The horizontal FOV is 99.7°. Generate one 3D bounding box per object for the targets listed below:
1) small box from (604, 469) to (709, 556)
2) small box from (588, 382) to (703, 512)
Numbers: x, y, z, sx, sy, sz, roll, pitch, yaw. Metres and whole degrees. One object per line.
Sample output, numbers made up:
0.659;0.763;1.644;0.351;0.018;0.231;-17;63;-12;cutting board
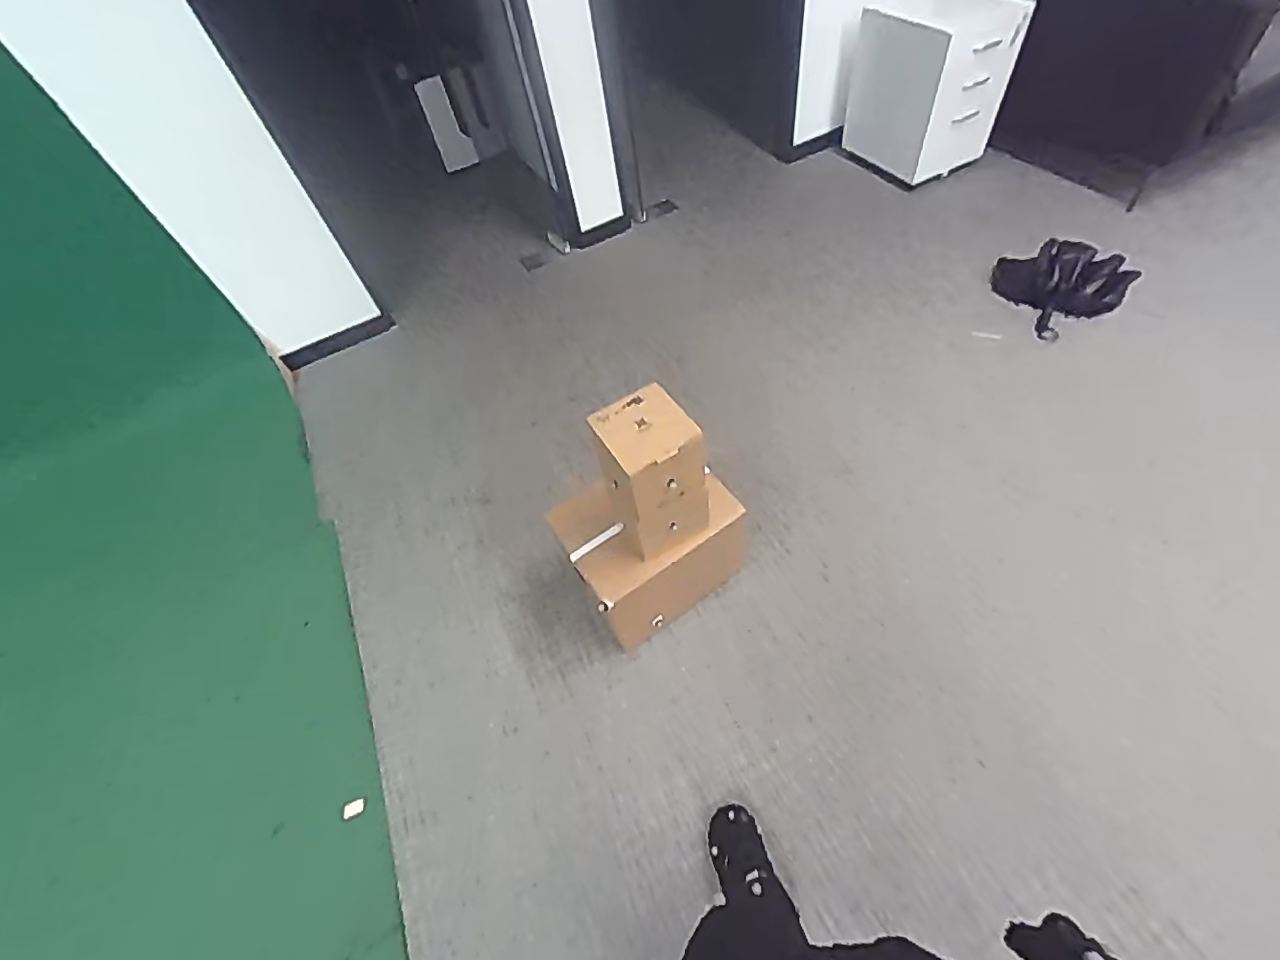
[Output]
0.041;0.041;1.226;0.179;0.176;0.168;-28;56;-10;small box
0.018;-0.058;1.099;0.168;0.176;0.179;-29;56;-11;small box
